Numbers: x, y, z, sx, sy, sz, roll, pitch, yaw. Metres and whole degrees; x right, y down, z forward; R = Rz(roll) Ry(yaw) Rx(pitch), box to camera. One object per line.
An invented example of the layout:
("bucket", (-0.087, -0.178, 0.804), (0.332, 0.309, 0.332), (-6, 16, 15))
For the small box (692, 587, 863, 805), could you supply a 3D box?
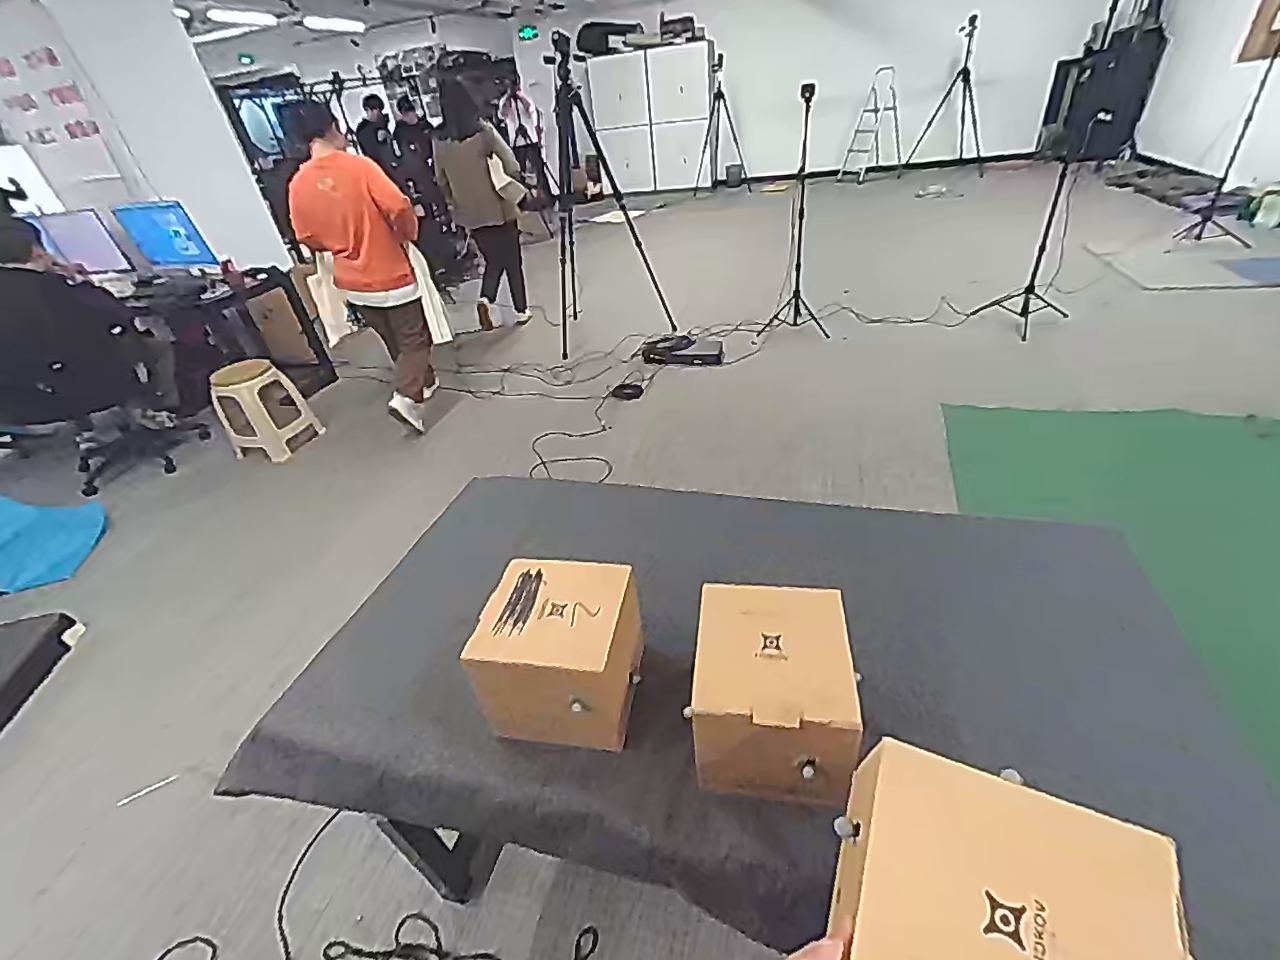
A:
("small box", (0.154, 0.250, 0.635), (0.168, 0.176, 0.179), (1, 35, 10))
